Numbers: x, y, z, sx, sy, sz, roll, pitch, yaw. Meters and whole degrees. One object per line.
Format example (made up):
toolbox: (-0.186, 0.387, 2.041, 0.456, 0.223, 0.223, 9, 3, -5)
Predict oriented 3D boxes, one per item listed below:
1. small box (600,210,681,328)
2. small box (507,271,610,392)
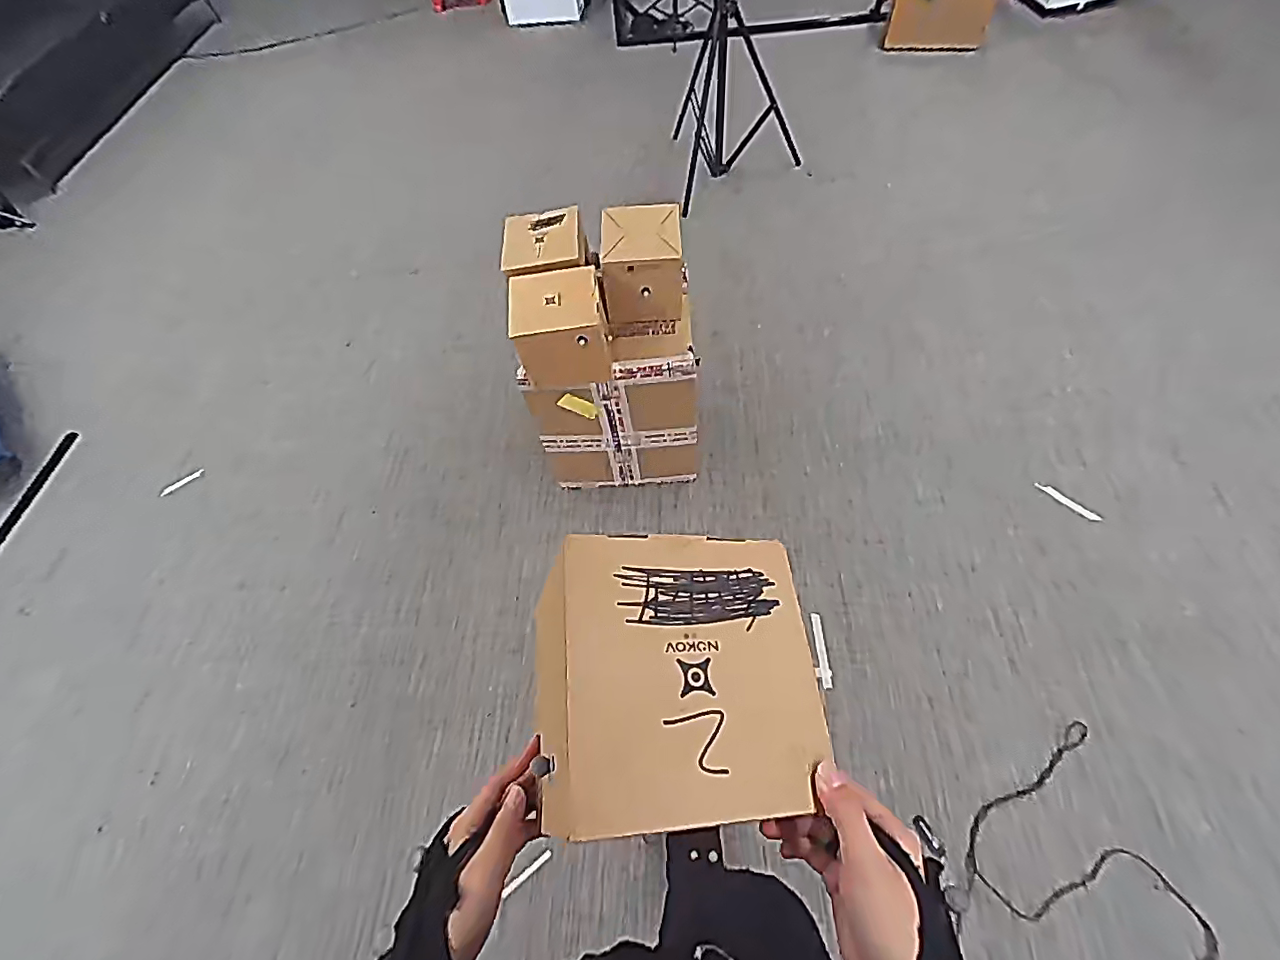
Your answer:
small box: (0.002, -0.462, 1.189, 0.168, 0.176, 0.179, -2, 60, 2)
small box: (-0.164, -0.300, 1.119, 0.179, 0.176, 0.168, -8, 61, 1)
